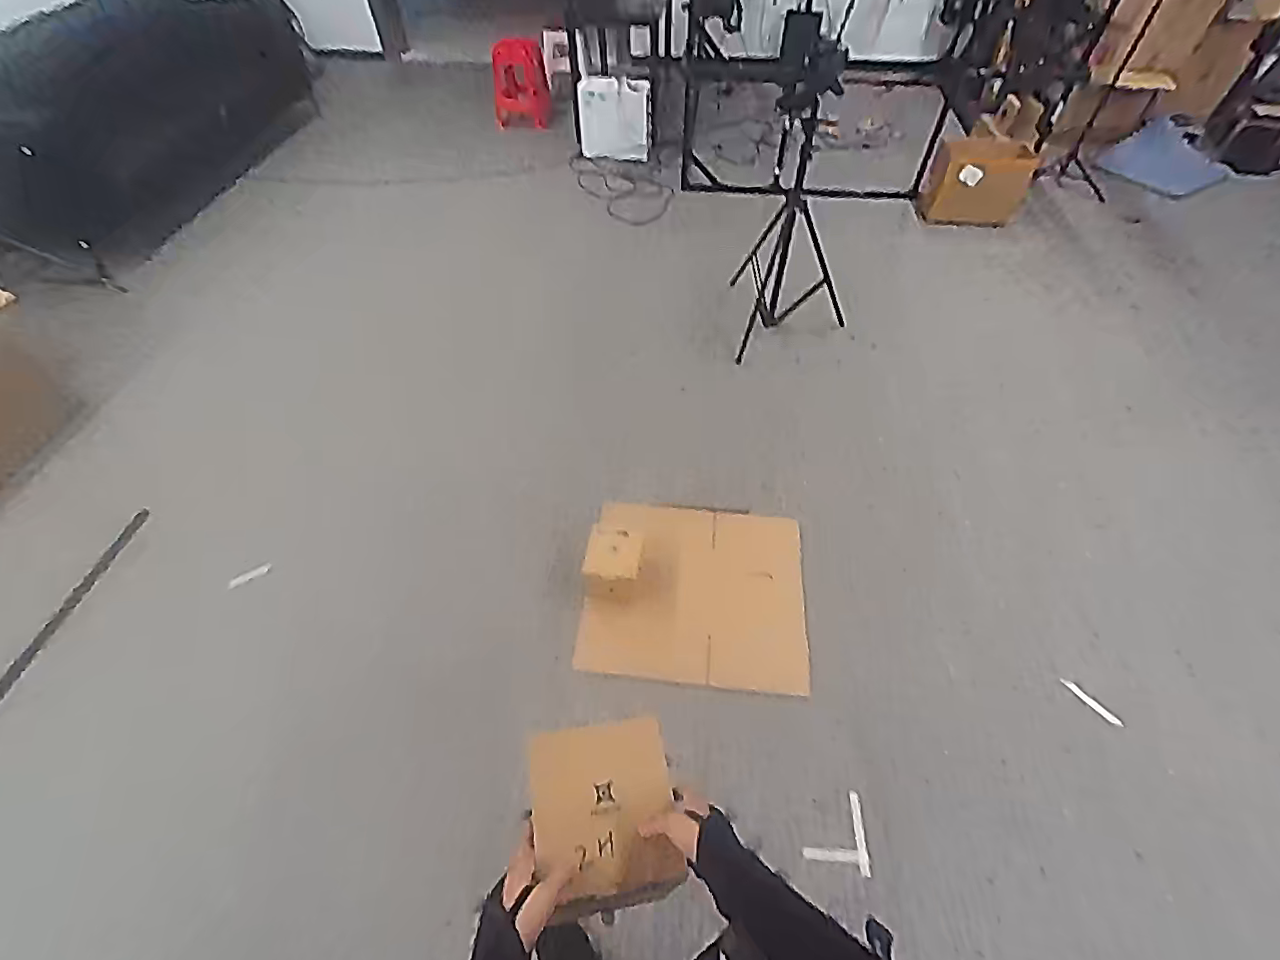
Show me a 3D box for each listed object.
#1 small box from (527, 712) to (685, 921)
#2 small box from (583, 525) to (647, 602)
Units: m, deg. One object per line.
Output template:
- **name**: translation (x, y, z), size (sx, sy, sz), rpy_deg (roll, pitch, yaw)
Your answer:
- **small box**: translation (-0.056, 0.418, 0.675), size (0.168, 0.176, 0.179), rpy_deg (-2, 47, -12)
- **small box**: translation (-0.071, 0.265, 1.691), size (0.168, 0.176, 0.179), rpy_deg (6, 54, 6)
